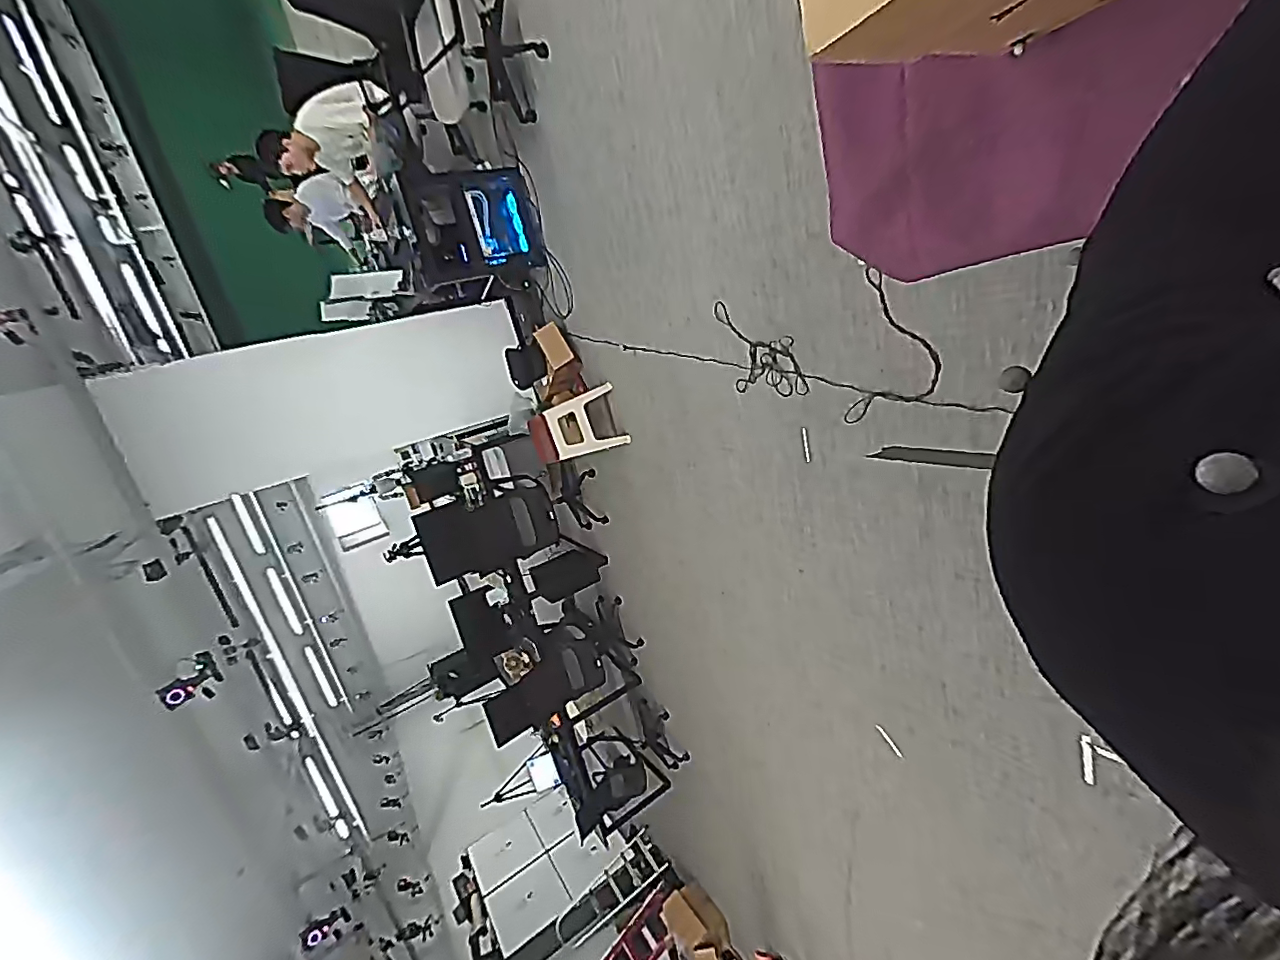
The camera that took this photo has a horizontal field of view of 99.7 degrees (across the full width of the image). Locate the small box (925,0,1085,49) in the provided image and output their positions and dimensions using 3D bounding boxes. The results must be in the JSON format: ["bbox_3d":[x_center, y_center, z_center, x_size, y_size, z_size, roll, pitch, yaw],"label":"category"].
[{"bbox_3d":[0.371,-0.537,0.493,0.168,0.176,0.179,12,121,58],"label":"small box"}]

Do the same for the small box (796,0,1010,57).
[{"bbox_3d":[0.236,-0.471,0.423,0.179,0.176,0.168,11,120,58],"label":"small box"}]
